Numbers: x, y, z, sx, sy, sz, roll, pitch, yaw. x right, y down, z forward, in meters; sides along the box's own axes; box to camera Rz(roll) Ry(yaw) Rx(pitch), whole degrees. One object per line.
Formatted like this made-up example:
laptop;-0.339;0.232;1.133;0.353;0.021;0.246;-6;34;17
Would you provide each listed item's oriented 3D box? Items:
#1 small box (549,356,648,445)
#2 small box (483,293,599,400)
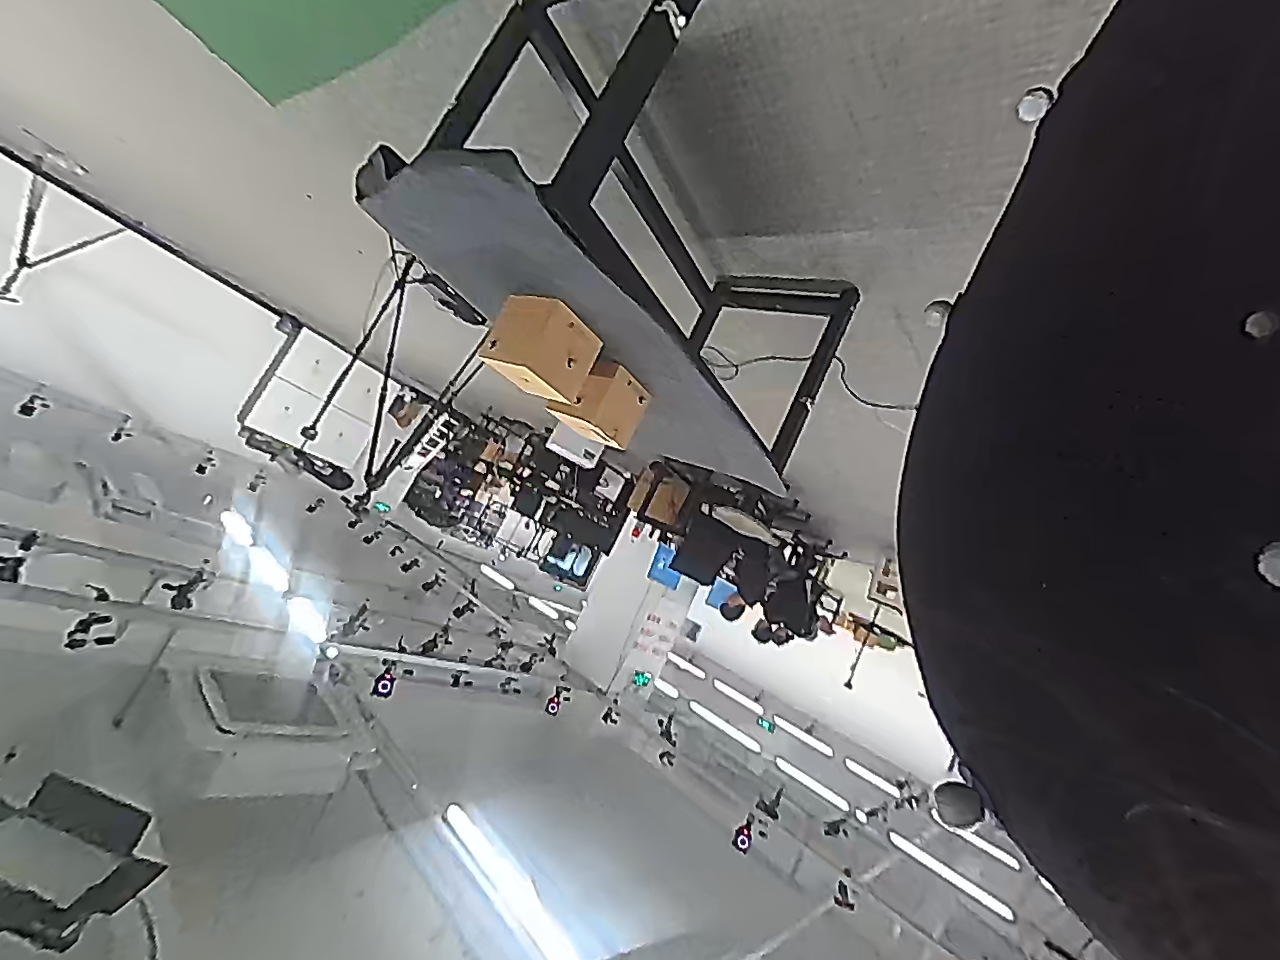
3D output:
small box;-0.100;-0.215;1.427;0.179;0.176;0.168;21;171;36
small box;-0.214;-0.304;1.225;0.179;0.176;0.168;20;170;38
